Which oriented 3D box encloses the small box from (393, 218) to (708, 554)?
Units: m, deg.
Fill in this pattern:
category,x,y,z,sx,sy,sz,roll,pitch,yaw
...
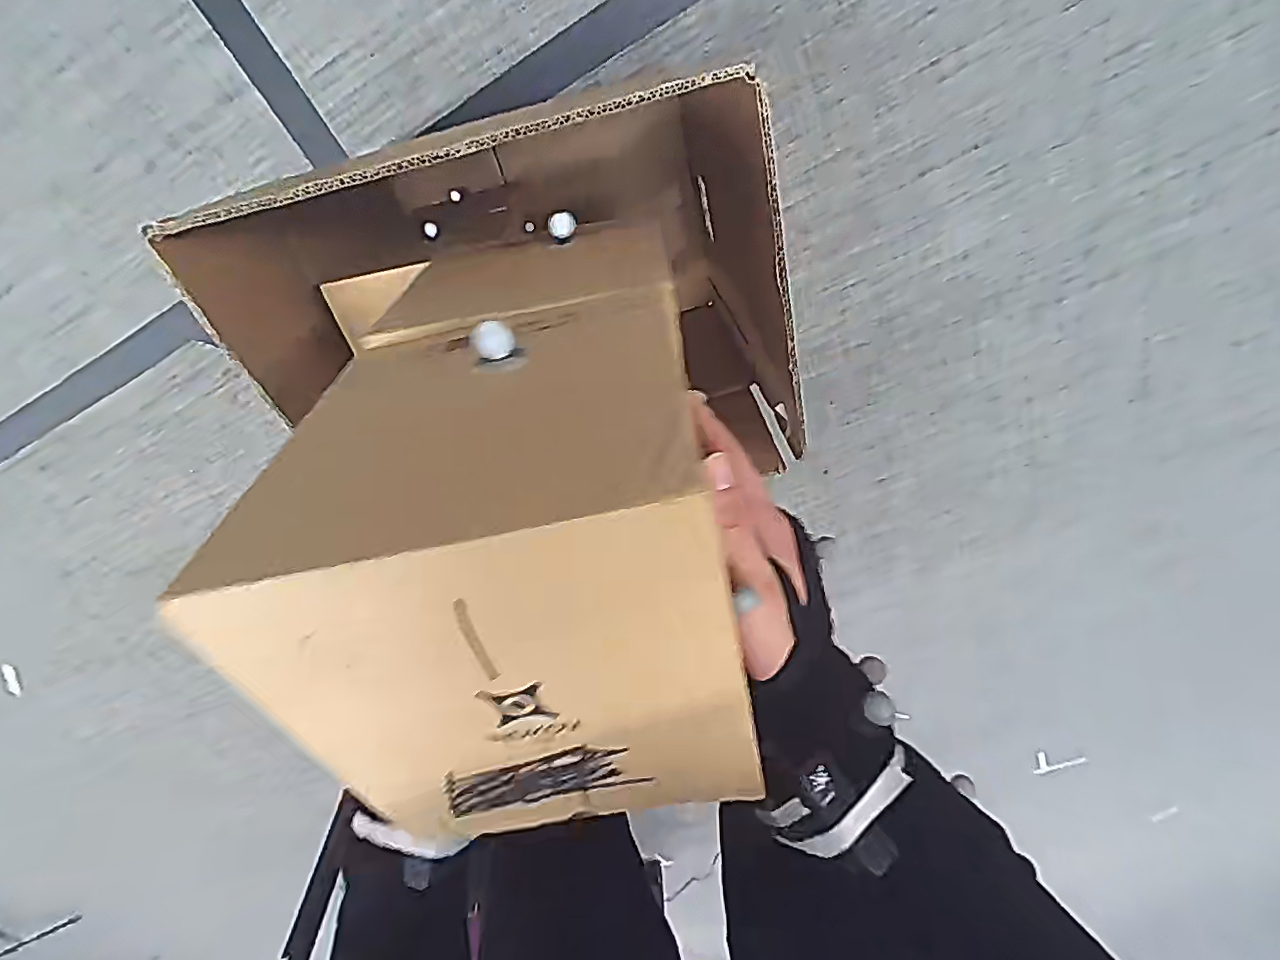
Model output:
category,x,y,z,sx,sy,sz,roll,pitch,yaw
small box,-0.043,-0.071,0.399,0.168,0.176,0.179,-8,127,3
